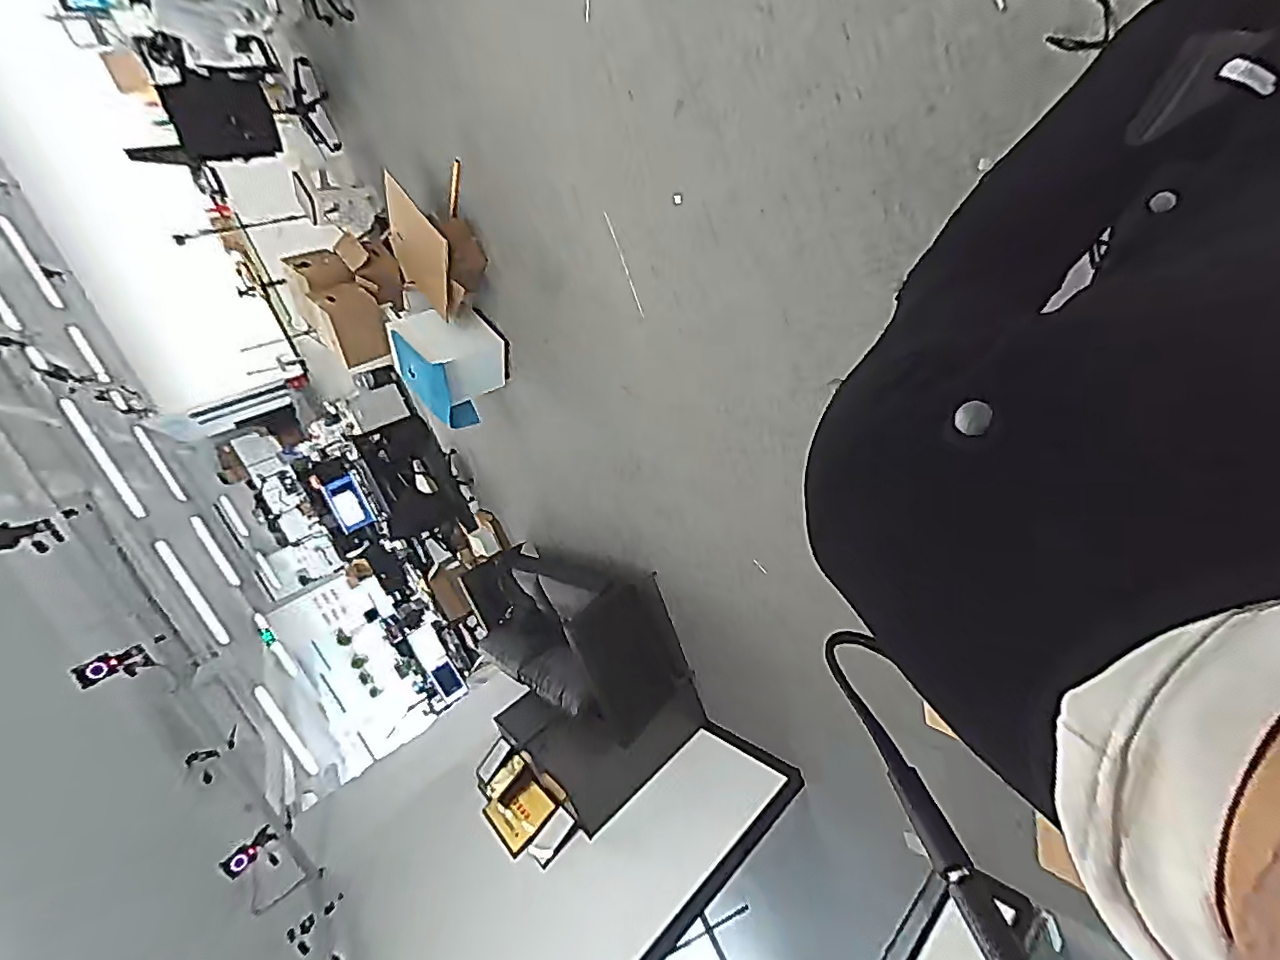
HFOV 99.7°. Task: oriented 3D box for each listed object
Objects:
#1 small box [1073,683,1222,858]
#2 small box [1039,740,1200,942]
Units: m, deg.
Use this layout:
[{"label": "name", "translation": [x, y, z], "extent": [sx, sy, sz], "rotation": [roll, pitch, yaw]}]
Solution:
[{"label": "small box", "translation": [0.906, 0.506, 0.967], "extent": [0.168, 0.176, 0.179], "rotation": [8, 122, 53]}, {"label": "small box", "translation": [0.783, 0.576, 0.886], "extent": [0.168, 0.176, 0.179], "rotation": [9, 123, 52]}]
